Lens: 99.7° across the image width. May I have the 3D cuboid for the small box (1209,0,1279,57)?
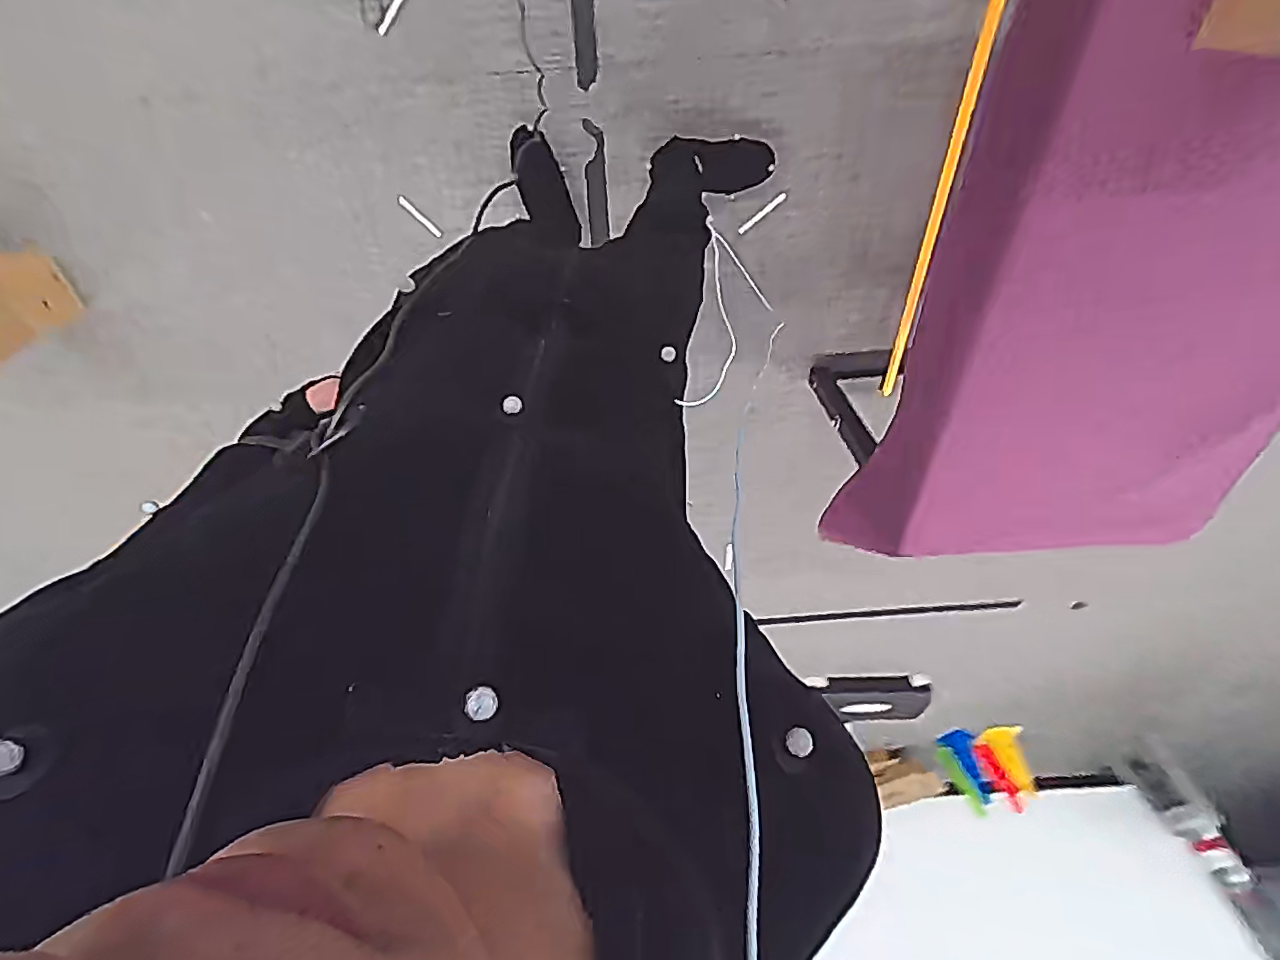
[{"bbox_3d":[0.699,-0.494,0.491,0.168,0.176,0.179,-2,129,-2],"label":"small box"}]

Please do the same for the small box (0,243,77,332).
[{"bbox_3d":[-1.579,-0.480,1.346,0.179,0.176,0.168,-1,130,0],"label":"small box"}]
